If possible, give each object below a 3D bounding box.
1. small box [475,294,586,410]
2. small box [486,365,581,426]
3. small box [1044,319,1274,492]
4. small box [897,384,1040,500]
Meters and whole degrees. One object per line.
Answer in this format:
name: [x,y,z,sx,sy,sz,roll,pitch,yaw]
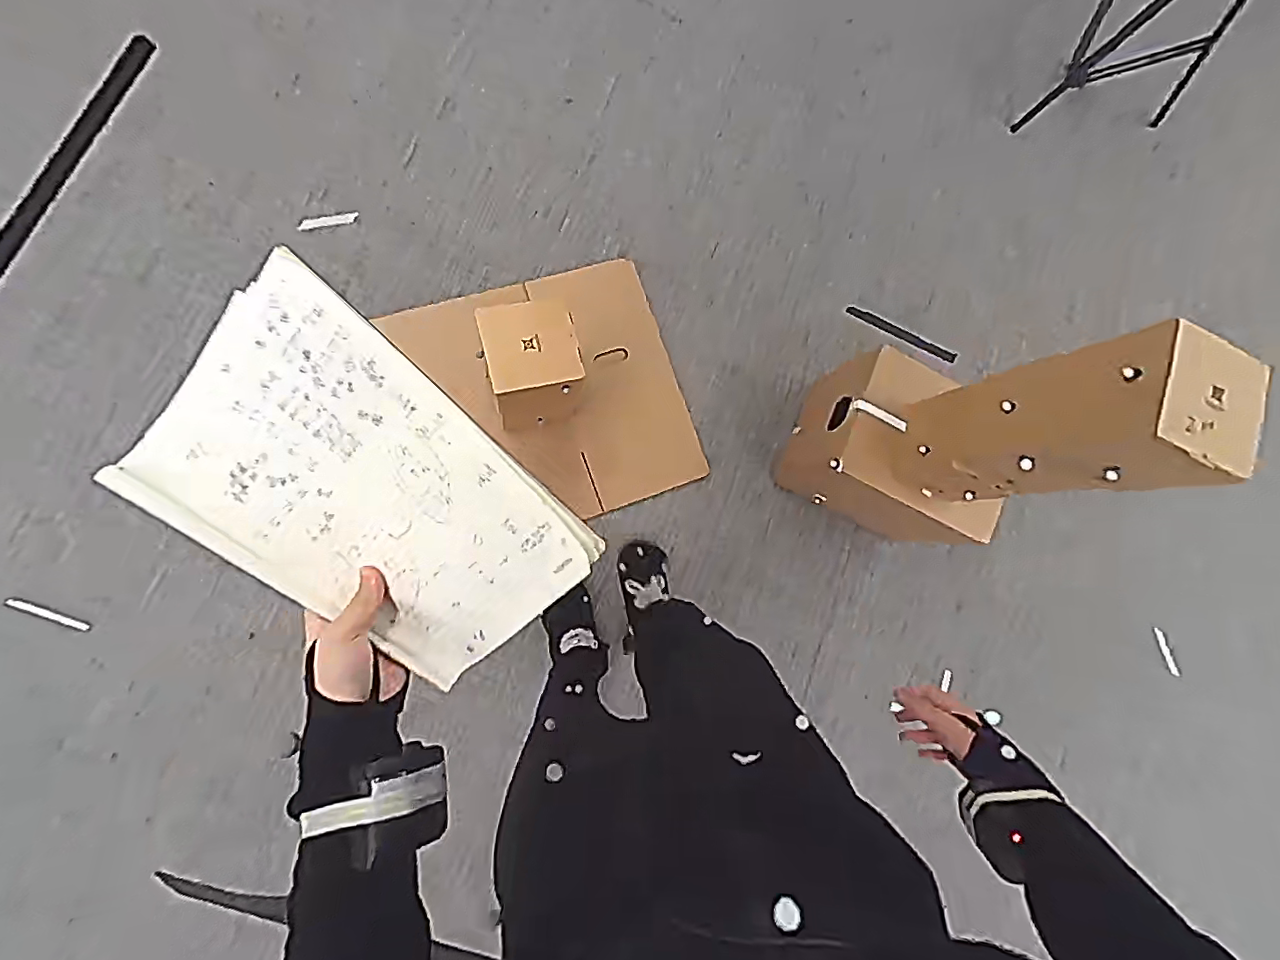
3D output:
small box: [-0.217,-0.246,1.073,0.179,0.176,0.168,-13,87,-15]
small box: [-0.249,-0.231,1.232,0.179,0.176,0.168,-15,87,-15]
small box: [0.733,-0.094,0.779,0.168,0.176,0.179,23,81,-9]
small box: [0.656,-0.066,1.098,0.168,0.176,0.179,20,80,-10]
